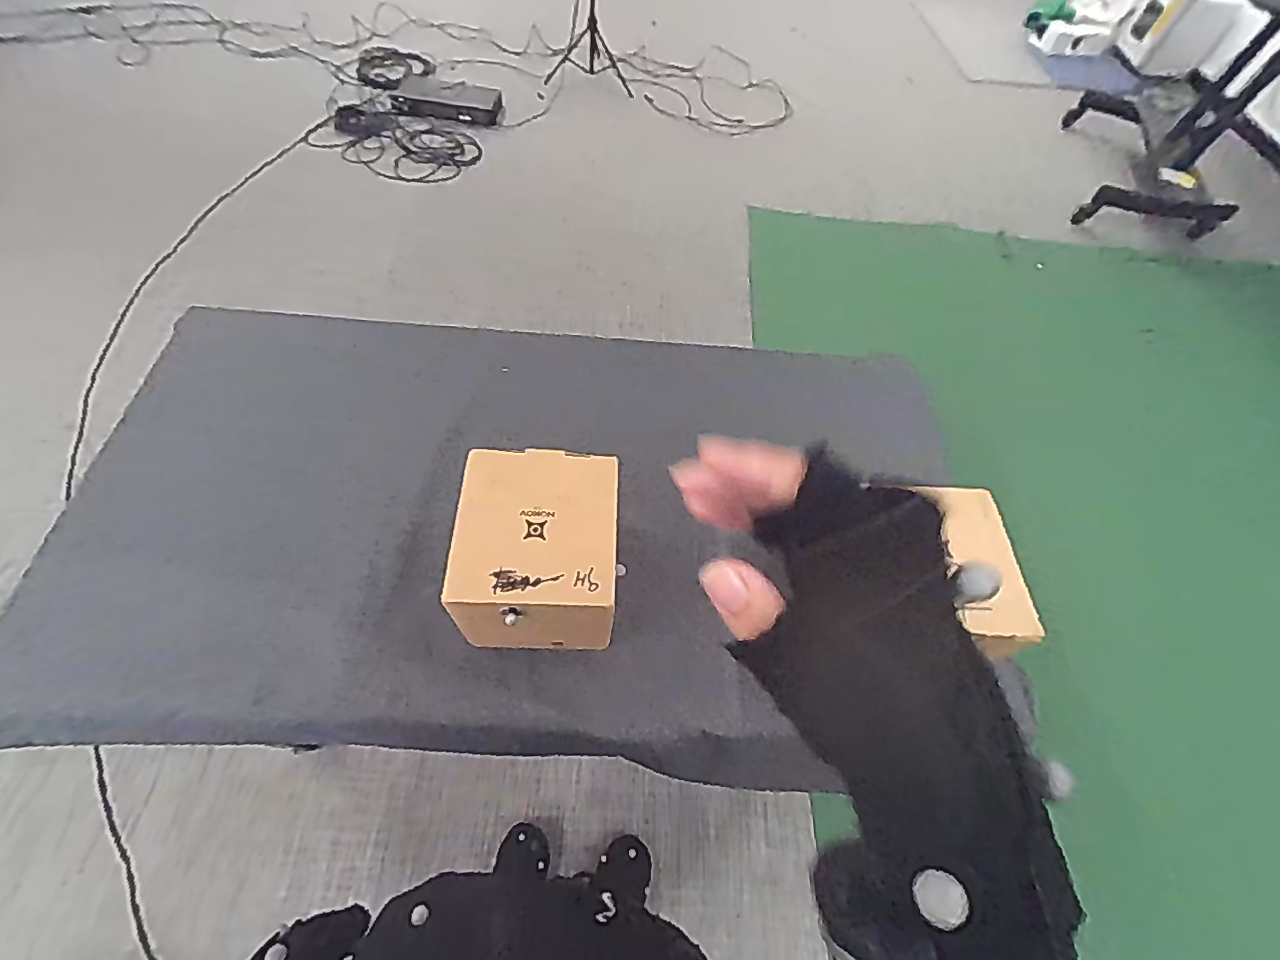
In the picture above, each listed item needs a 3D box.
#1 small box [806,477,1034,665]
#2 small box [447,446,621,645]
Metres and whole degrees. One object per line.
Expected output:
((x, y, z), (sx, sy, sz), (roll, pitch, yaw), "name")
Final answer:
((0.314, 0.117, 0.652), (0.168, 0.176, 0.179), (4, 58, -3), "small box")
((-0.111, 0.081, 0.633), (0.168, 0.176, 0.179), (2, 58, -4), "small box")
